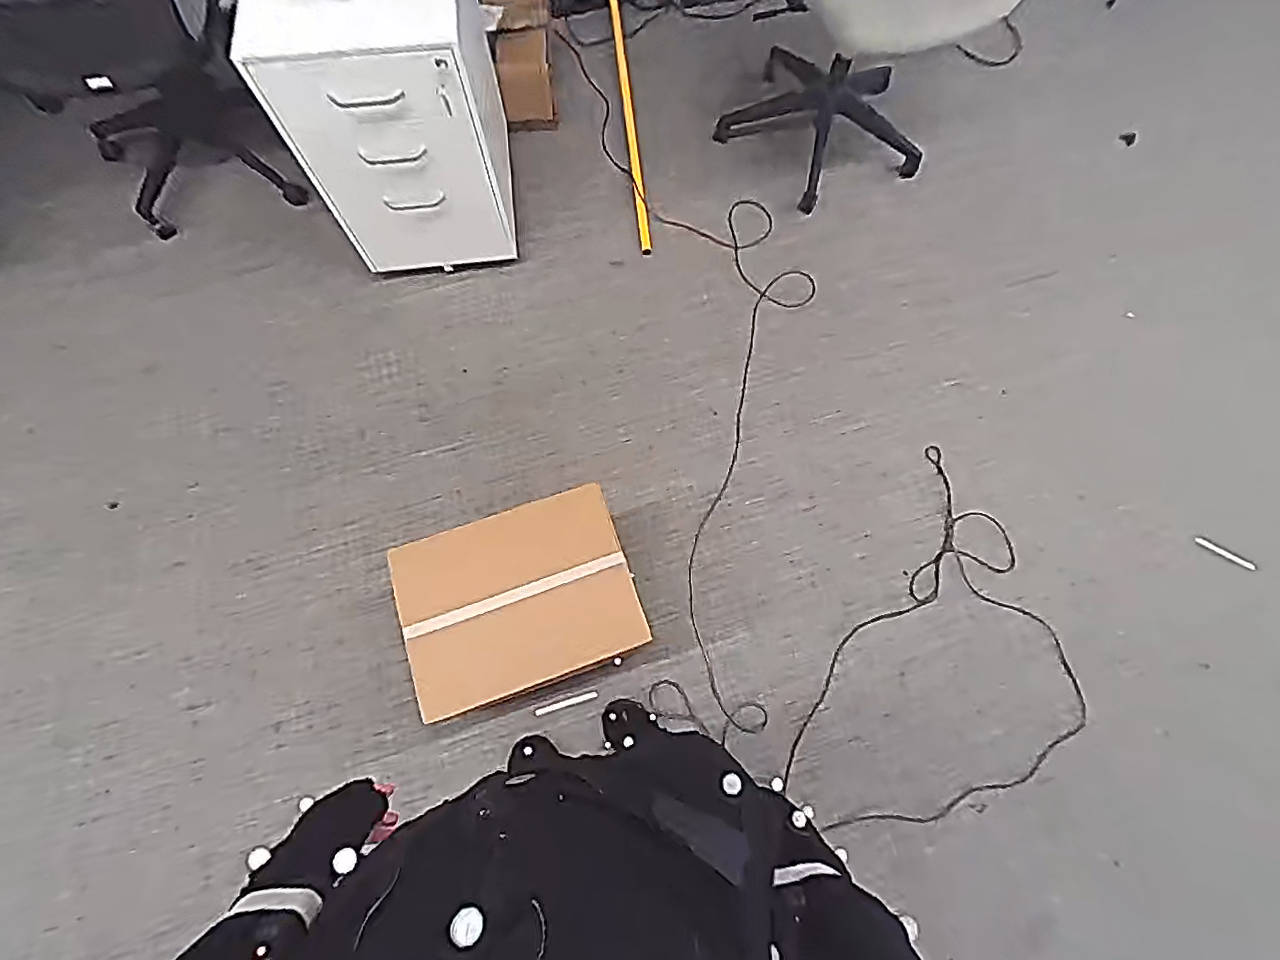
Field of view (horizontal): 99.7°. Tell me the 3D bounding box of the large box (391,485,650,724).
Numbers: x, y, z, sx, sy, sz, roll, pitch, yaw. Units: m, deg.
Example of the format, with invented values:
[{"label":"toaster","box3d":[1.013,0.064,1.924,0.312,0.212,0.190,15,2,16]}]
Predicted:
[{"label":"large box","box3d":[-0.221,0.252,1.107,0.408,0.320,0.320,-19,72,-7]}]
